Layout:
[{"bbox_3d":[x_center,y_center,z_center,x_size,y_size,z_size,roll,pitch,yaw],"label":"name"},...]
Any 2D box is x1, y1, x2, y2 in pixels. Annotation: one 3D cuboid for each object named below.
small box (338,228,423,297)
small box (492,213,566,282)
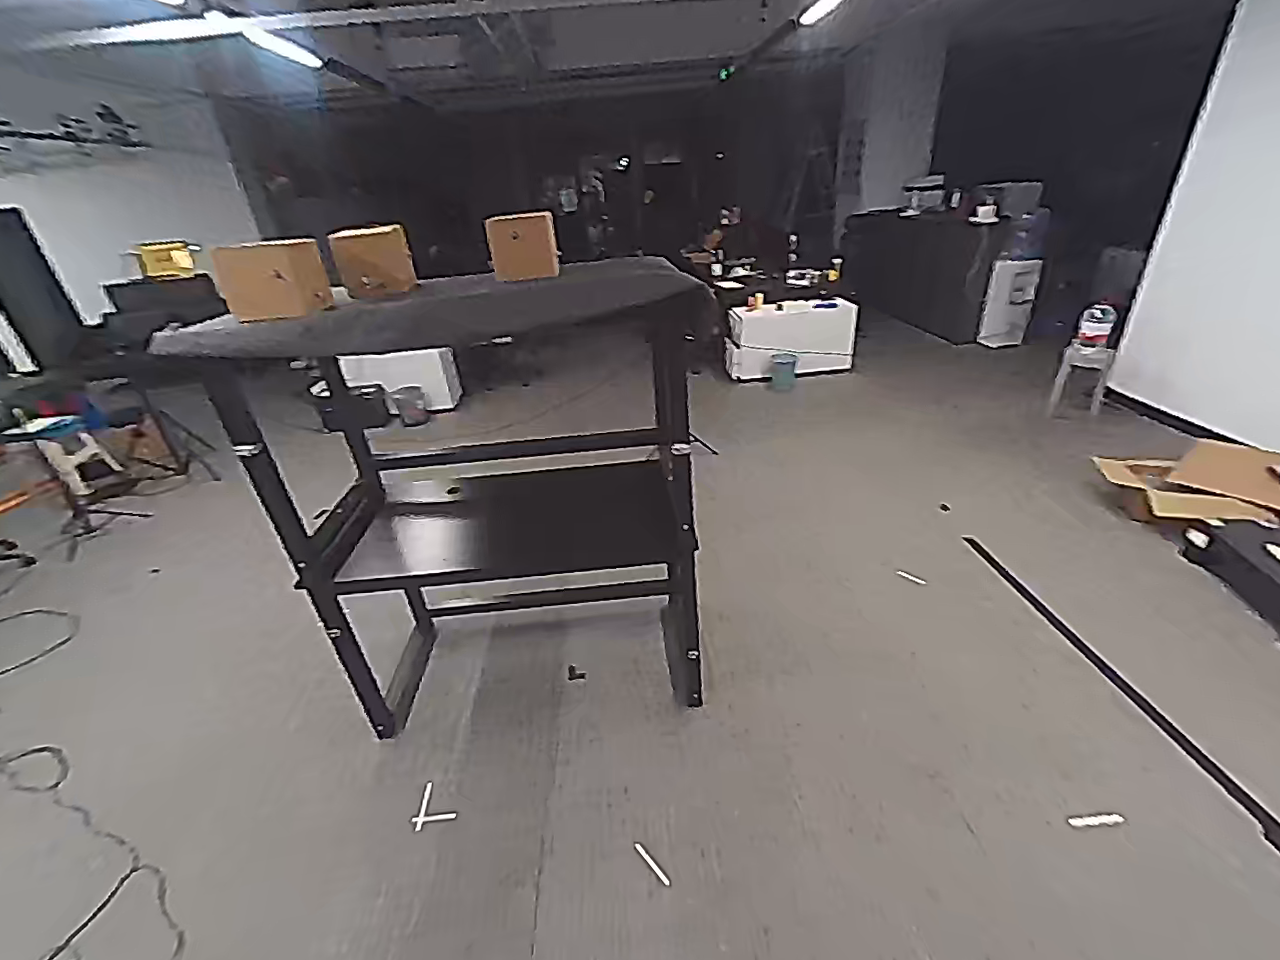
[{"bbox_3d":[-0.758,-0.645,1.601,0.168,0.176,0.179,-10,29,-6],"label":"small box"},{"bbox_3d":[-0.328,-0.699,1.624,0.179,0.176,0.168,-6,30,0],"label":"small box"}]
